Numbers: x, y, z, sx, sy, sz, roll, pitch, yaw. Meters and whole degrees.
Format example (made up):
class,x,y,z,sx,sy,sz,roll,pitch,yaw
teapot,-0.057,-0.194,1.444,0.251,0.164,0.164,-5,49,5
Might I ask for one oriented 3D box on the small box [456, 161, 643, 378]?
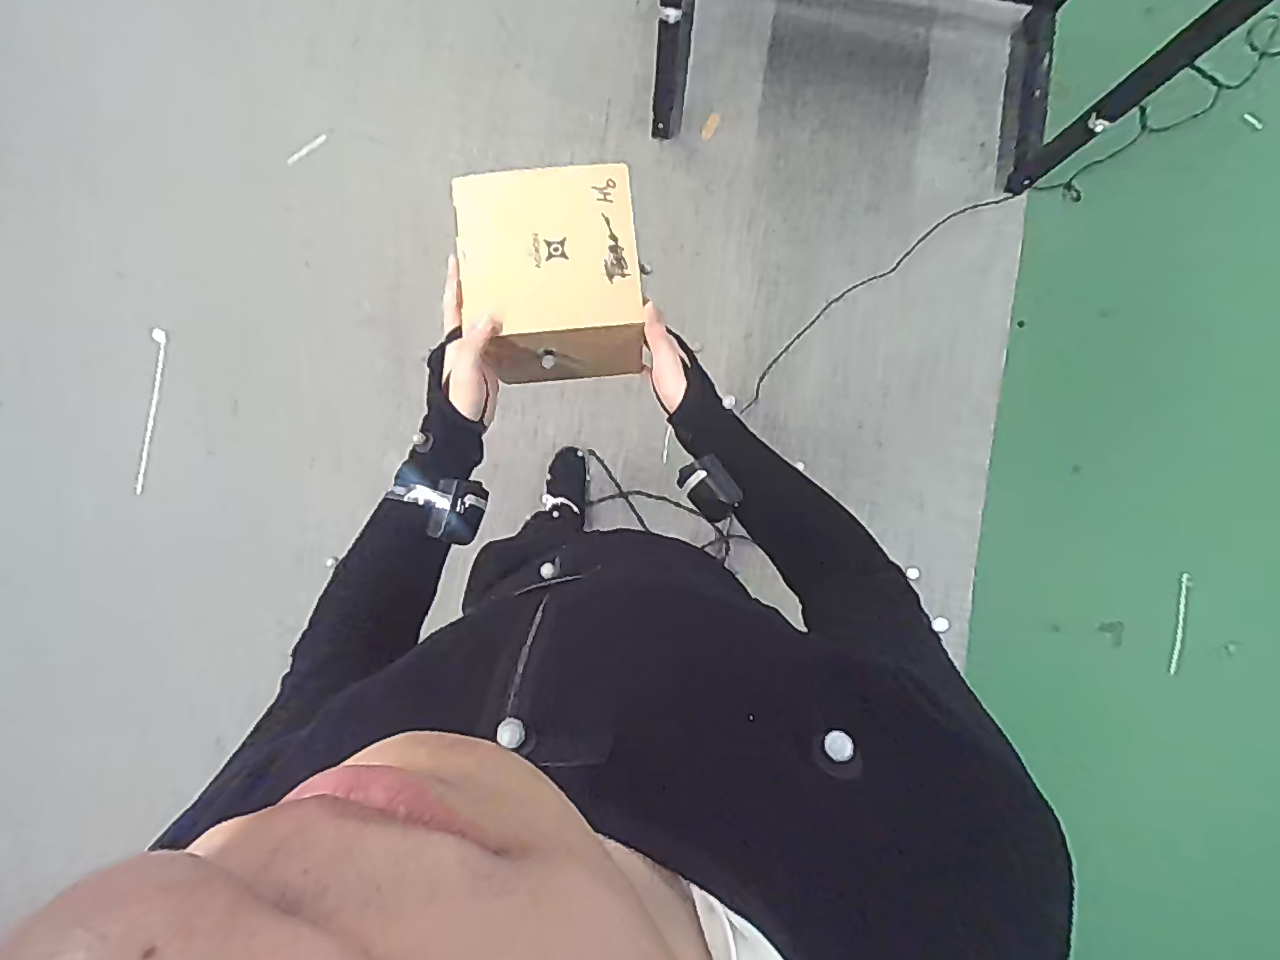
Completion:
class,x,y,z,sx,sy,sz,roll,pitch,yaw
small box,-0.089,-0.218,0.602,0.179,0.176,0.168,-5,85,-1
